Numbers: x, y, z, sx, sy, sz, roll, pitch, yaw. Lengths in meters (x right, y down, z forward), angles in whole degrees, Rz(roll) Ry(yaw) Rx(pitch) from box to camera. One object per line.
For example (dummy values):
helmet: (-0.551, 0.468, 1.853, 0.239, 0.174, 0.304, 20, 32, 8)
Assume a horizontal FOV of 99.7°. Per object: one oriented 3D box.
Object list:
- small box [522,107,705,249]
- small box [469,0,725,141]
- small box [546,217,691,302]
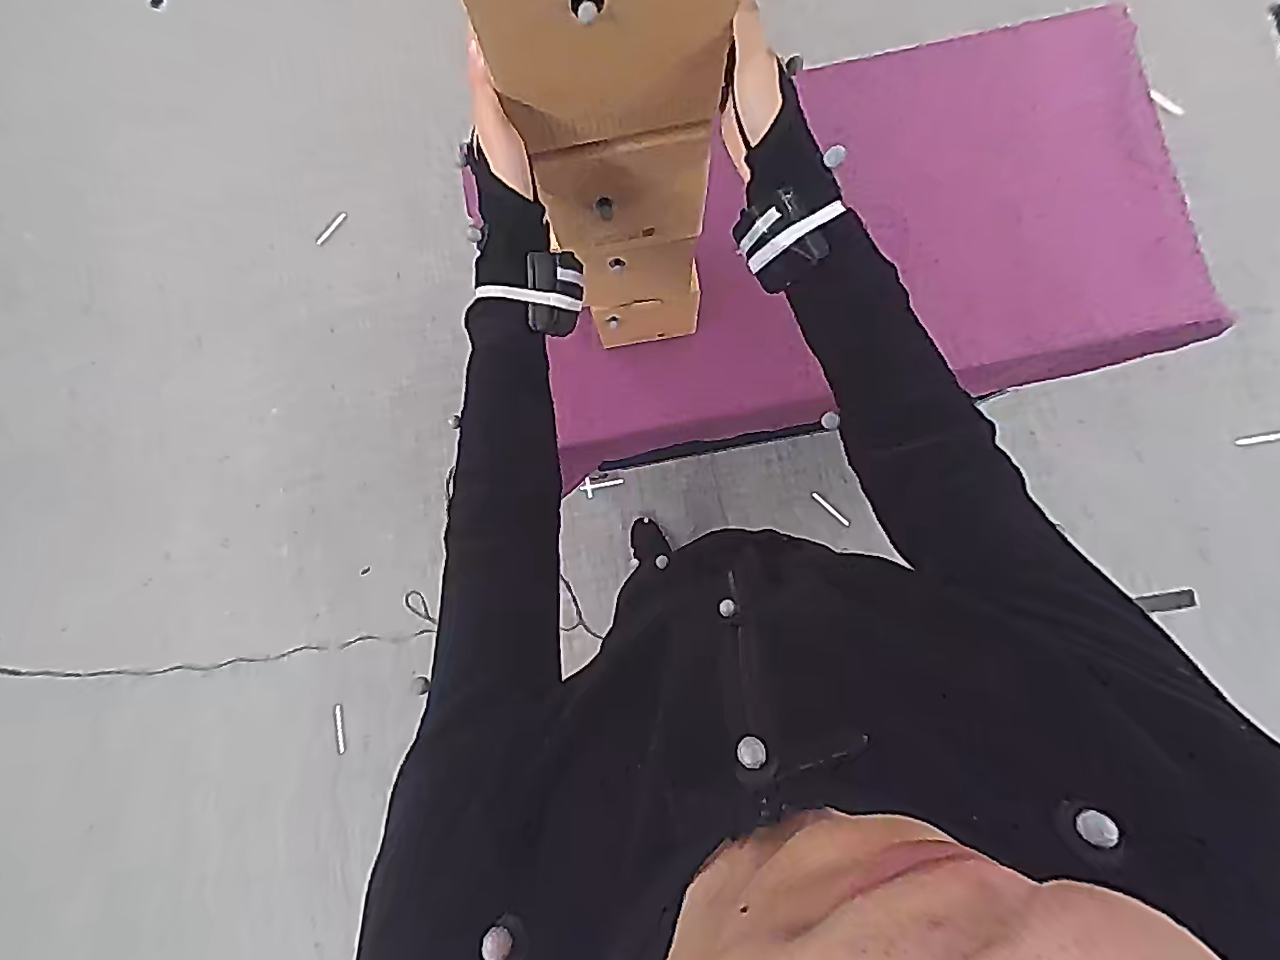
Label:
small box: (-0.029, -0.365, 0.566, 0.168, 0.176, 0.179, -9, 83, 1)
small box: (-0.037, -0.381, 0.386, 0.179, 0.176, 0.168, -11, 86, 0)
small box: (-0.024, -0.352, 0.728, 0.179, 0.176, 0.168, -3, 84, 2)
